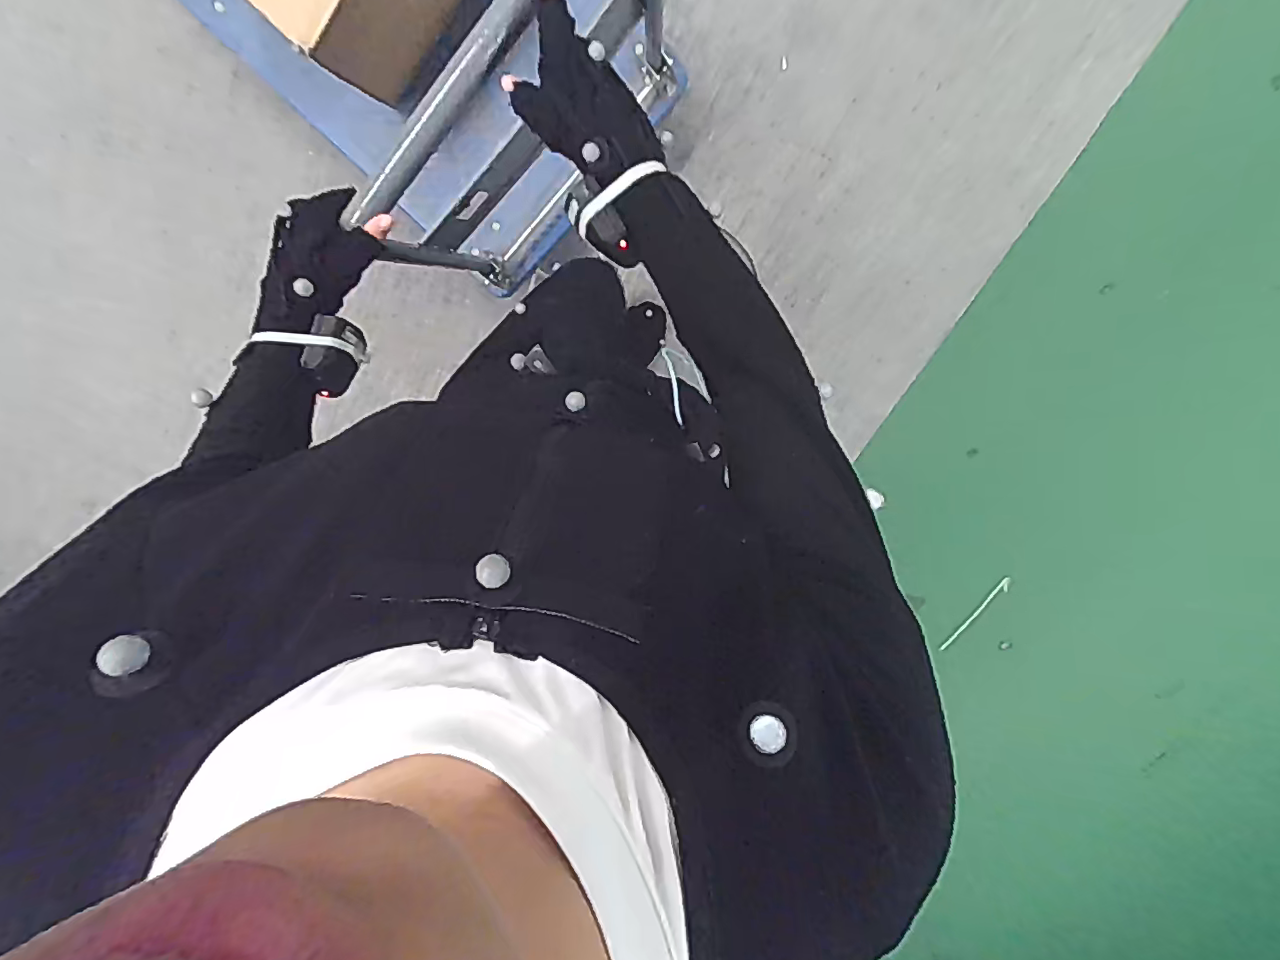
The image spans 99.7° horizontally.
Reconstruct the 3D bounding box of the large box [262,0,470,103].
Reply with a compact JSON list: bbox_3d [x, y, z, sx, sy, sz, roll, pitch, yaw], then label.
[{"bbox_3d":[-0.428,-0.888,0.807,0.320,0.320,0.408,39,108,-15],"label":"large box"}]
